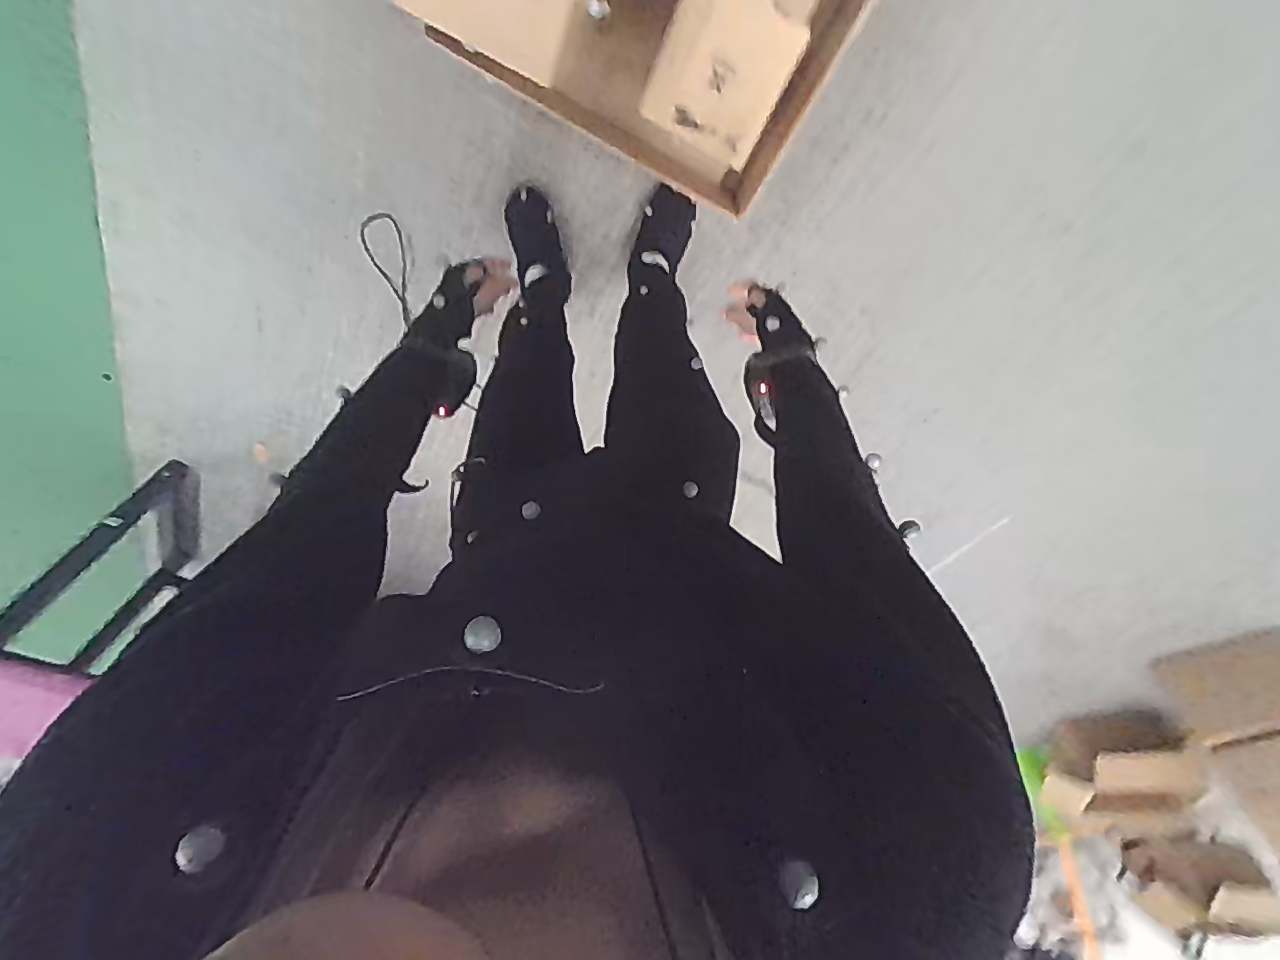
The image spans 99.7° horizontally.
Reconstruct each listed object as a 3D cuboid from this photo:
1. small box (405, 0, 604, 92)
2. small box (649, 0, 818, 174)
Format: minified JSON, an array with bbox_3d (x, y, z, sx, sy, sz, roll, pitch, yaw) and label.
[{"bbox_3d":[-0.132,-0.573,0.599,0.179,0.176,0.168,21,132,-14],"label":"small box"},{"bbox_3d":[0.125,-0.586,0.781,0.168,0.176,0.179,23,129,-11],"label":"small box"}]
